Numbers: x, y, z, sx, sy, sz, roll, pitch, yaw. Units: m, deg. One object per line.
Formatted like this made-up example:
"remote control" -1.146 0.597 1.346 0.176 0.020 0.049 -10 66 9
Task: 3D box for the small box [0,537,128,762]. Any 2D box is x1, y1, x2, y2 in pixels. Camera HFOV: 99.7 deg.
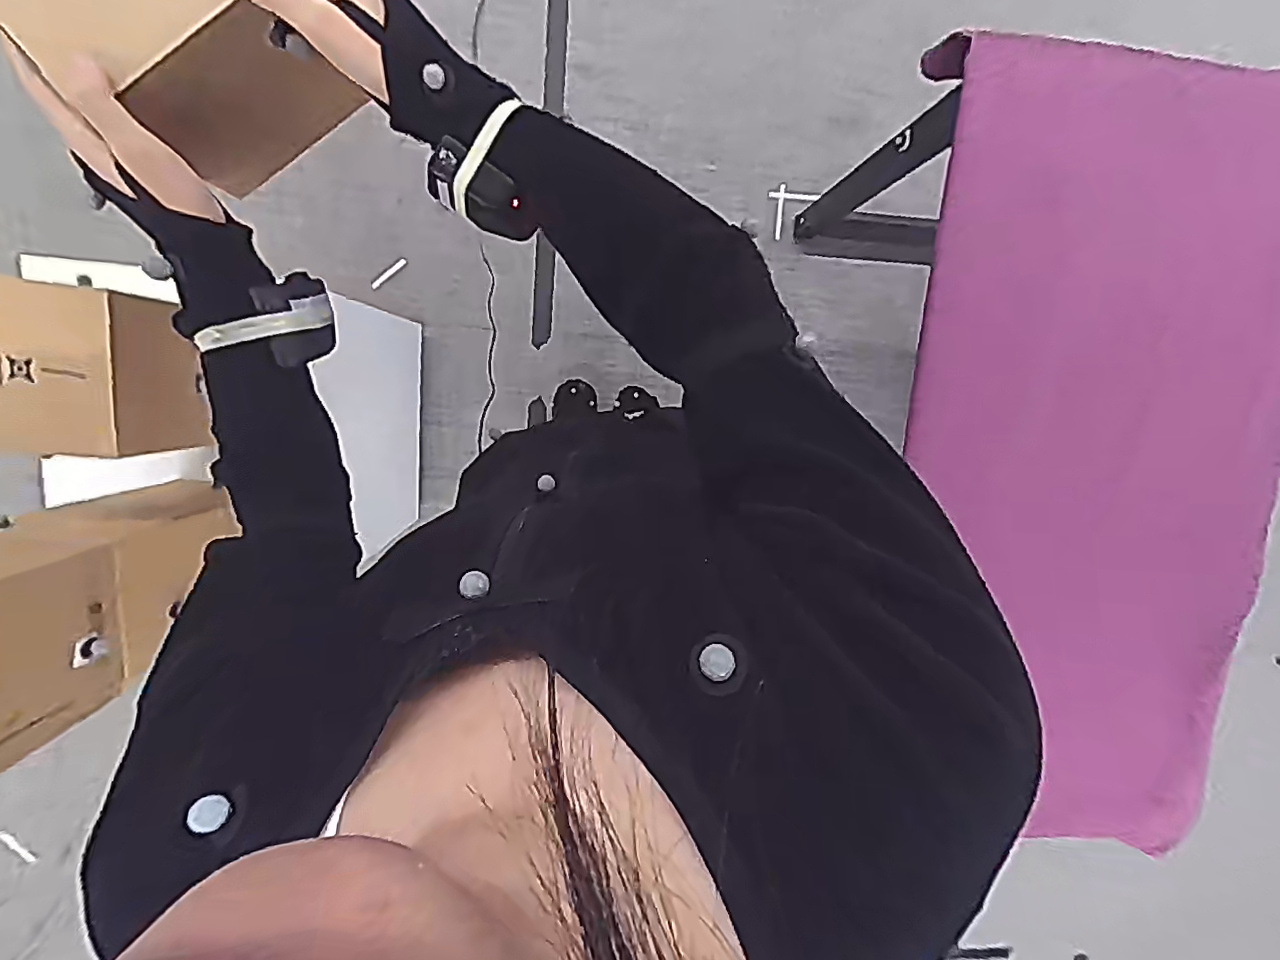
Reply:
"small box" -0.605 0.151 0.462 0.179 0.176 0.168 2 100 -6

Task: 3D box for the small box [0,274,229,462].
"small box" -0.589 -0.118 0.580 0.179 0.176 0.168 5 100 -7

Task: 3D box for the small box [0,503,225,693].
"small box" -0.617 0.125 0.622 0.179 0.176 0.168 3 100 -5

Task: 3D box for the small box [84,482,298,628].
"small box" -0.633 0.098 0.783 0.179 0.176 0.168 4 99 -5
